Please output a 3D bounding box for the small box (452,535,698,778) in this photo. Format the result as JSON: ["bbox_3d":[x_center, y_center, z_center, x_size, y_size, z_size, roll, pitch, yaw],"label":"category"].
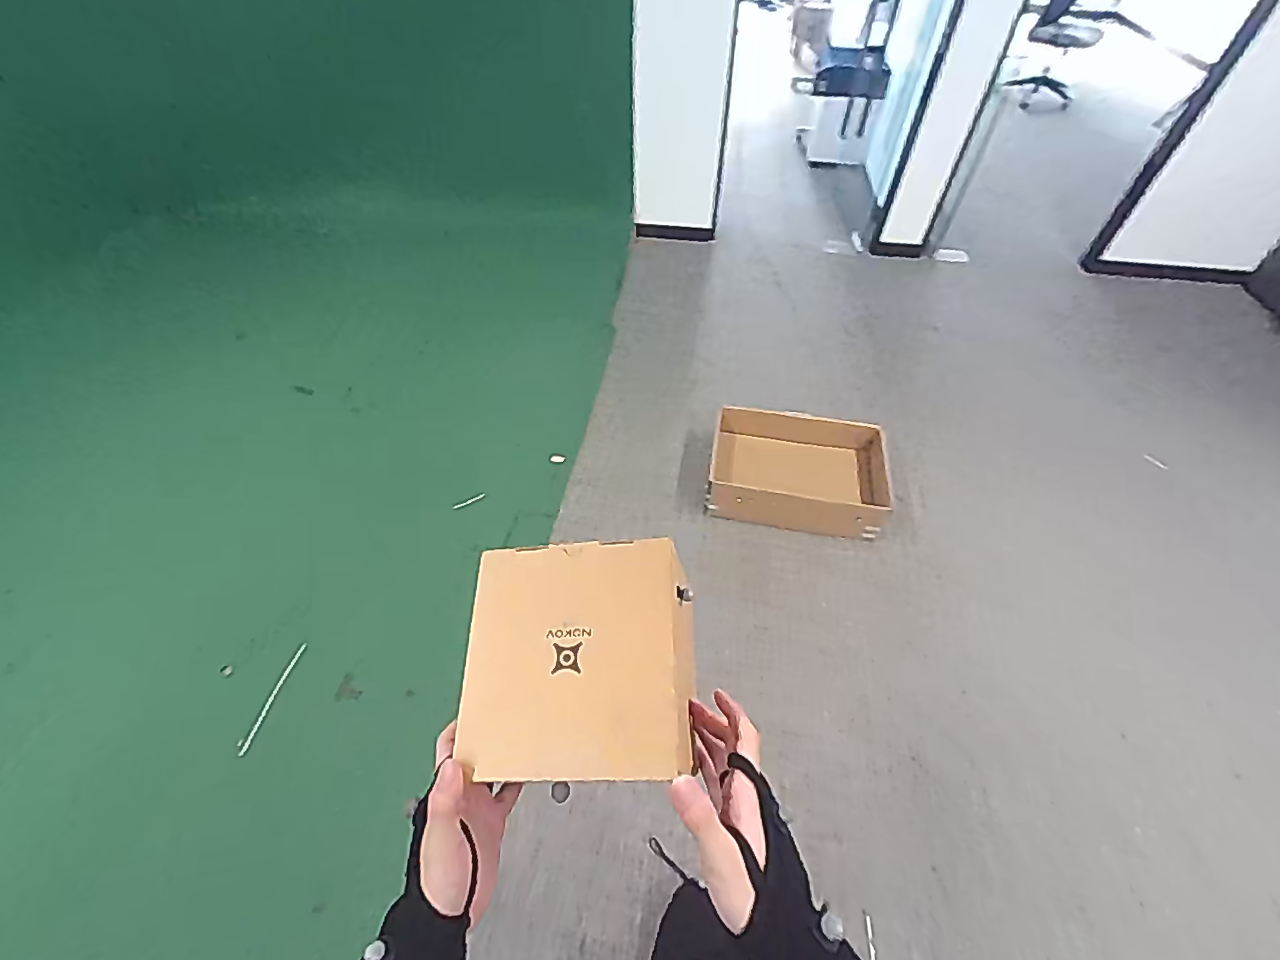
[{"bbox_3d":[-0.039,0.165,0.482,0.168,0.176,0.179,-5,59,10],"label":"small box"}]
